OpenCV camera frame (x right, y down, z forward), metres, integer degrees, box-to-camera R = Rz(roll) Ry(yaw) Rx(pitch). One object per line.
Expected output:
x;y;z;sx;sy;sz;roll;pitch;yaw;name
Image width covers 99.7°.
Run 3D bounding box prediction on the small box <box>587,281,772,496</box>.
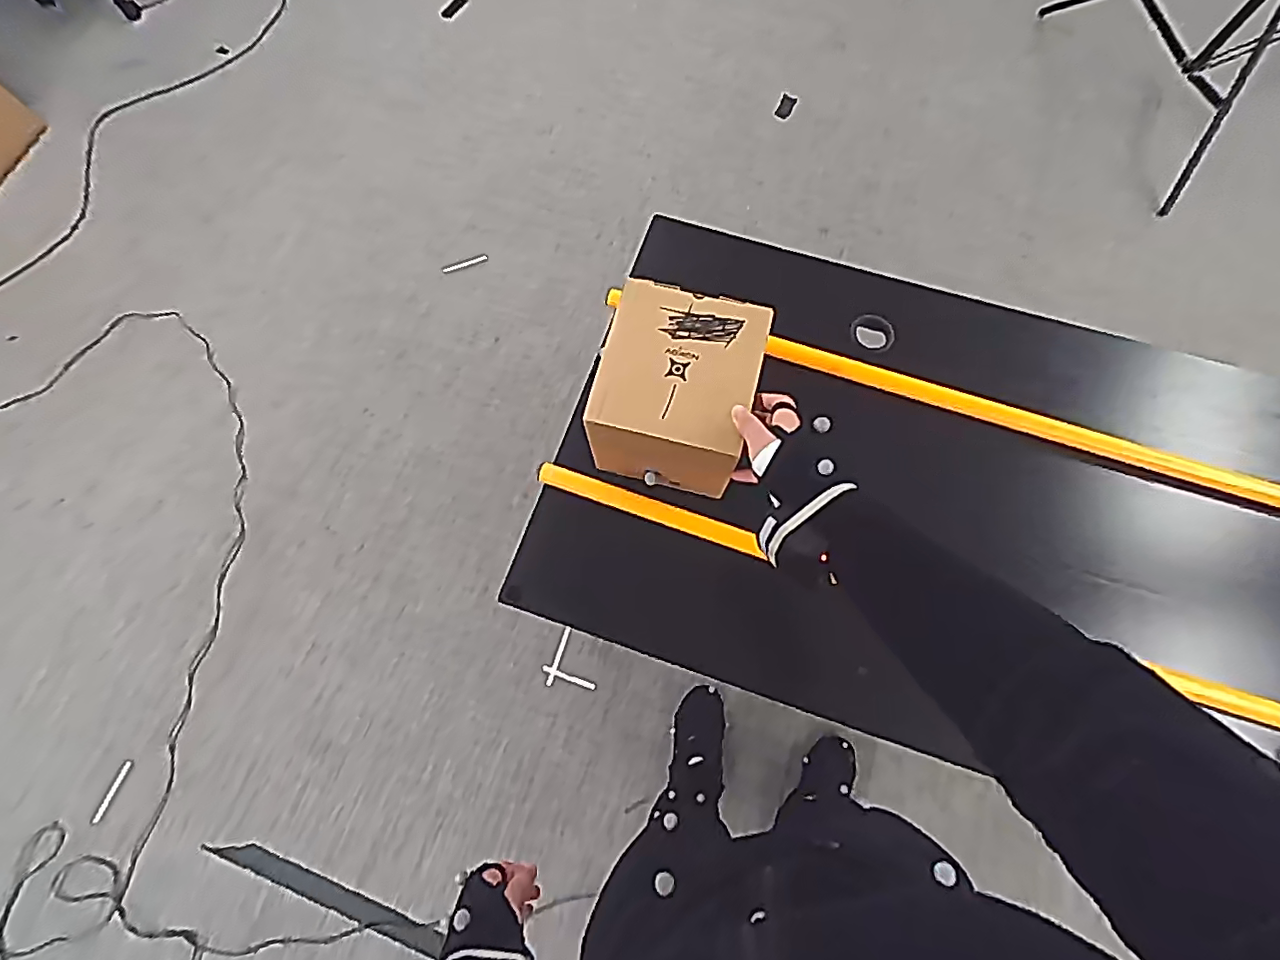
0.045;-0.099;0.646;0.168;0.176;0.179;14;75;5;small box
